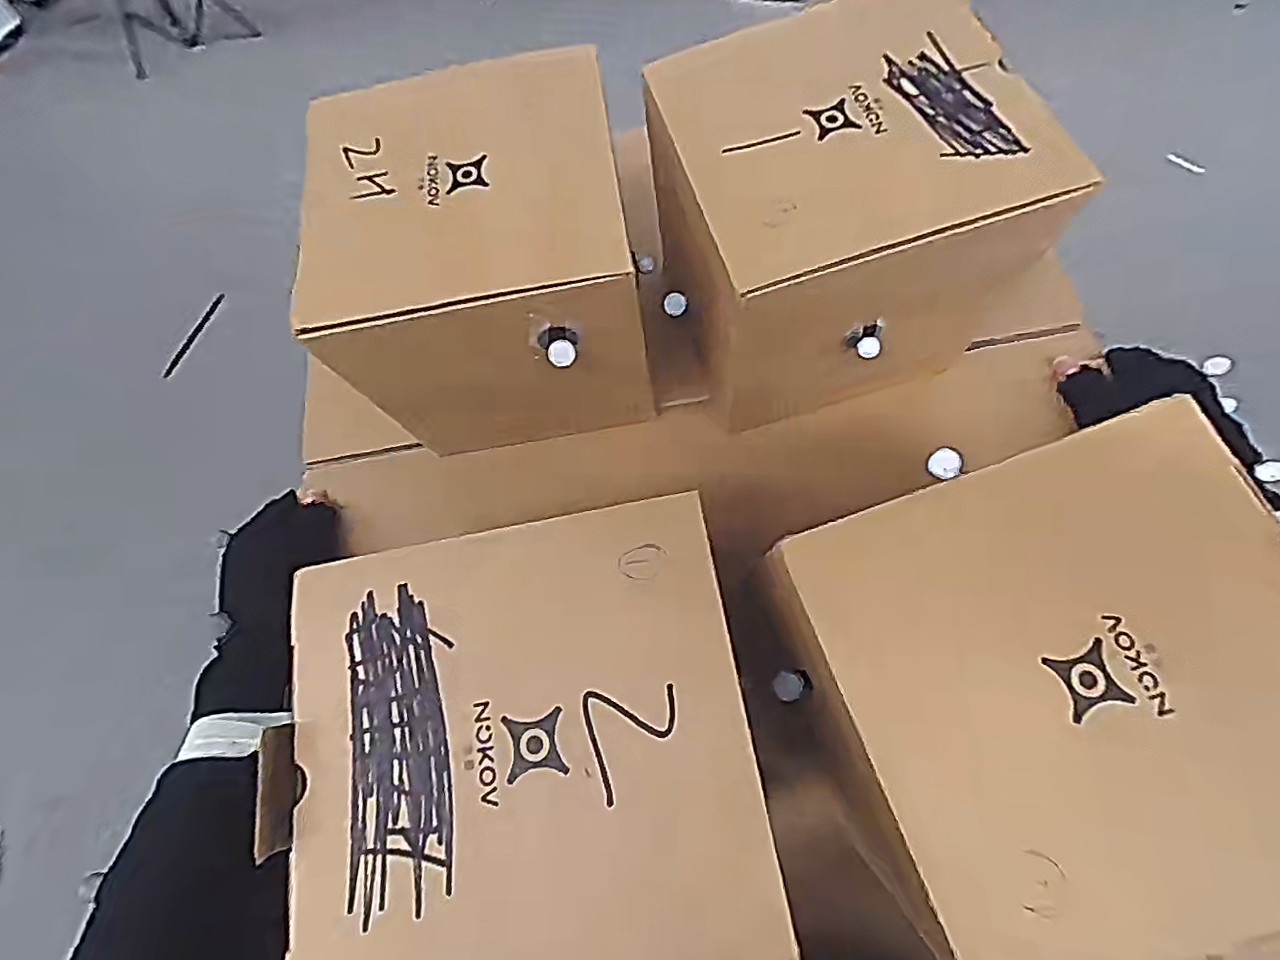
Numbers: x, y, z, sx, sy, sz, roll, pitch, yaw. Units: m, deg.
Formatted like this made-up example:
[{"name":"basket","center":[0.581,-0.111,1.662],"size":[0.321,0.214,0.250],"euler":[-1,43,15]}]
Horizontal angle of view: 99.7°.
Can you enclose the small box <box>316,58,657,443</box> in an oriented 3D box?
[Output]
[{"name":"small box","center":[-0.083,-0.139,0.378],"size":[0.179,0.176,0.168],"euler":[-8,70,4]}]
